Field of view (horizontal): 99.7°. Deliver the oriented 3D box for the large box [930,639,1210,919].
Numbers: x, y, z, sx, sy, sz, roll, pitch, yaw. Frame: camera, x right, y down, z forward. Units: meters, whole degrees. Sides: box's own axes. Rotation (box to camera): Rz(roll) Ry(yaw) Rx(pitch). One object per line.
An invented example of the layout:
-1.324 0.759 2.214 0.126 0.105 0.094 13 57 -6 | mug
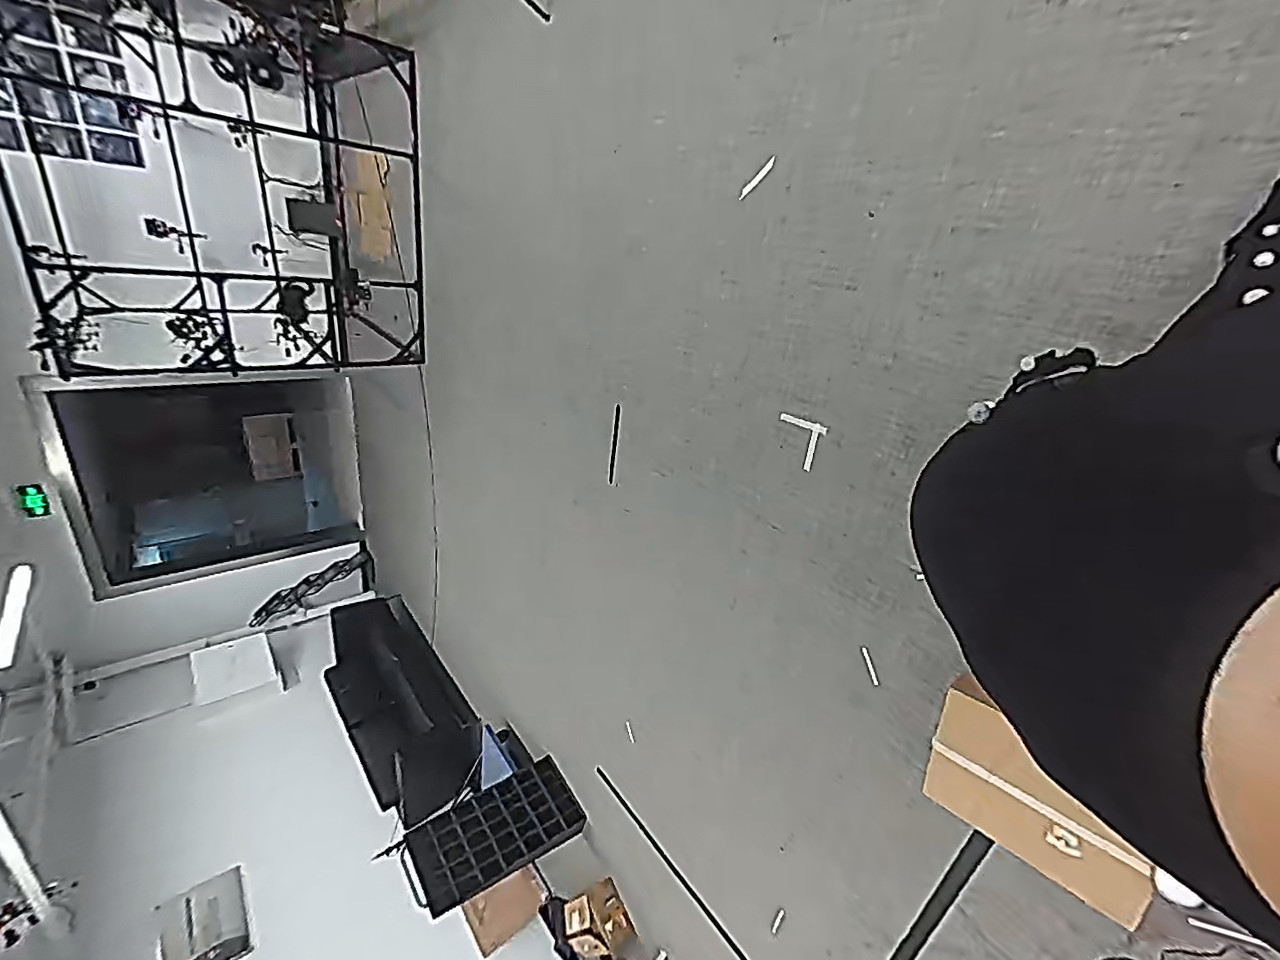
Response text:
0.946 0.623 1.220 0.408 0.320 0.320 21 116 45 | large box
